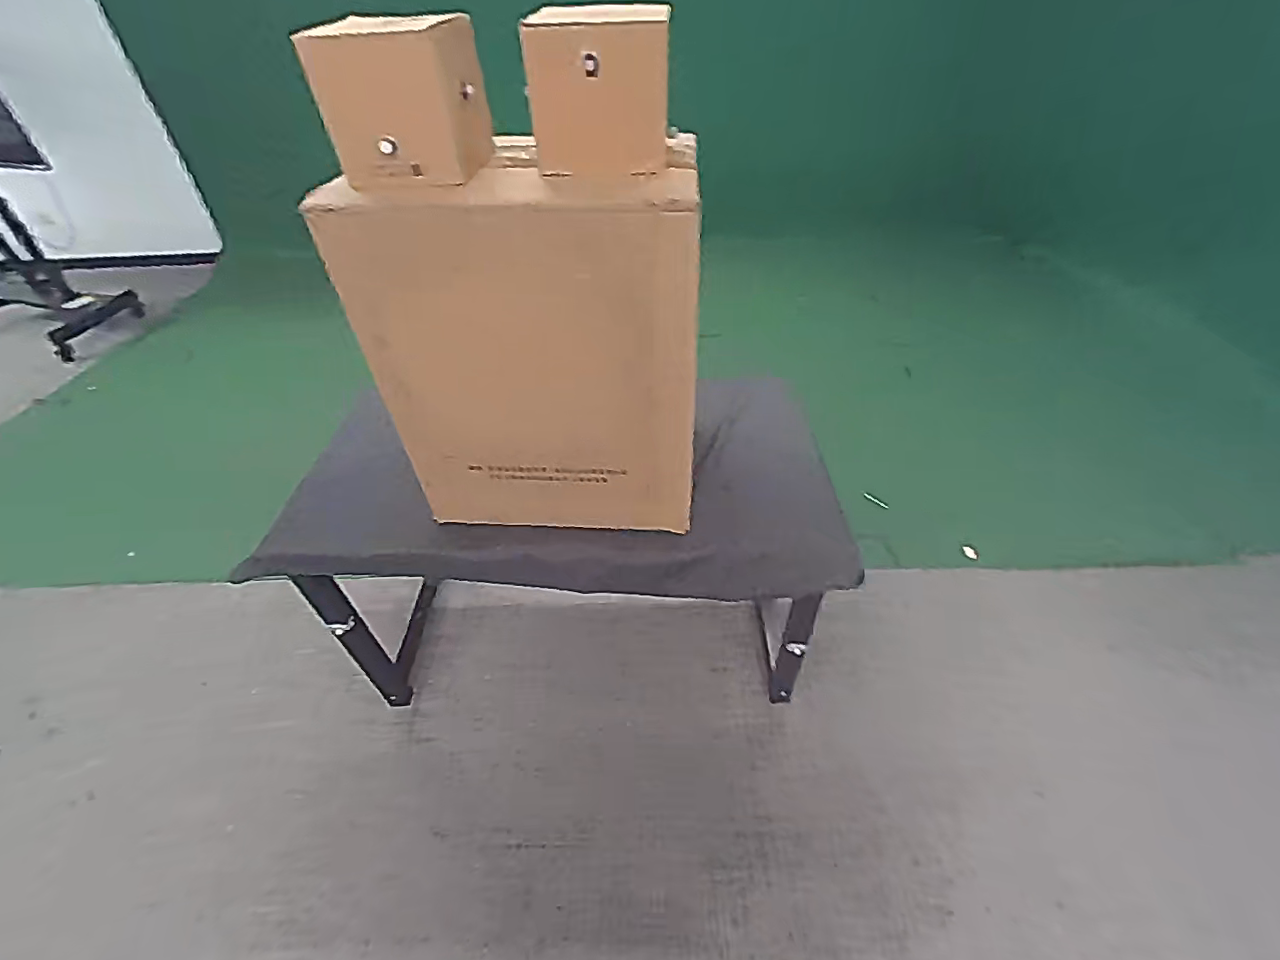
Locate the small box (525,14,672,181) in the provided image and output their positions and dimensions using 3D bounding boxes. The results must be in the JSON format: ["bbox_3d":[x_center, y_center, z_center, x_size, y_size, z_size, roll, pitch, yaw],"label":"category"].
[{"bbox_3d":[-0.047,-0.534,0.757,0.179,0.176,0.168,3,46,2],"label":"small box"}]

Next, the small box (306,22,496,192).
[{"bbox_3d":[-0.312,-0.520,0.755,0.168,0.176,0.179,1,46,5],"label":"small box"}]
